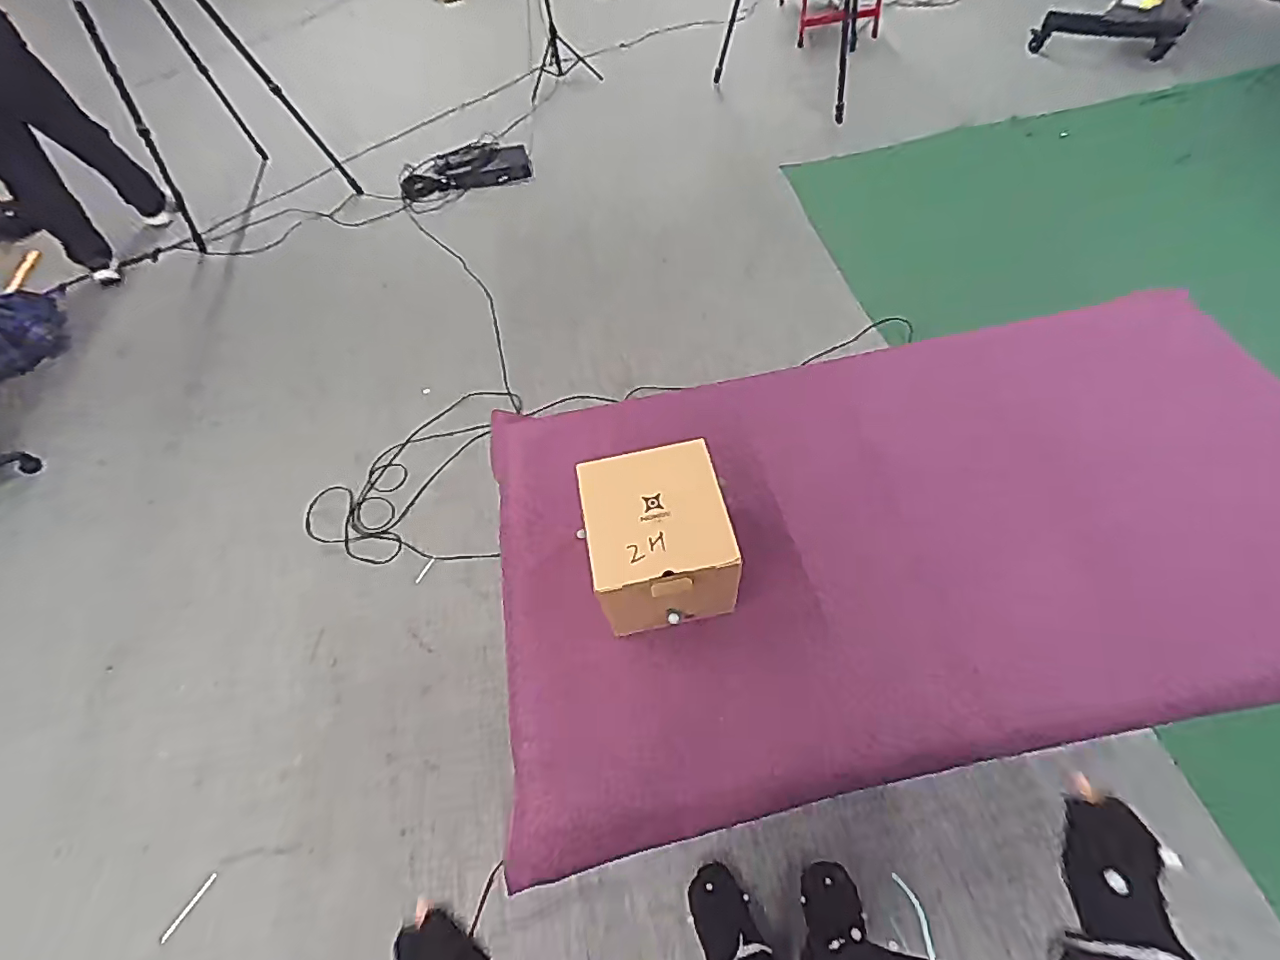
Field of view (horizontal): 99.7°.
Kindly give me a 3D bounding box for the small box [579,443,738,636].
[{"bbox_3d":[0.022,0.082,0.704,0.168,0.176,0.179,-12,57,-1],"label":"small box"}]
